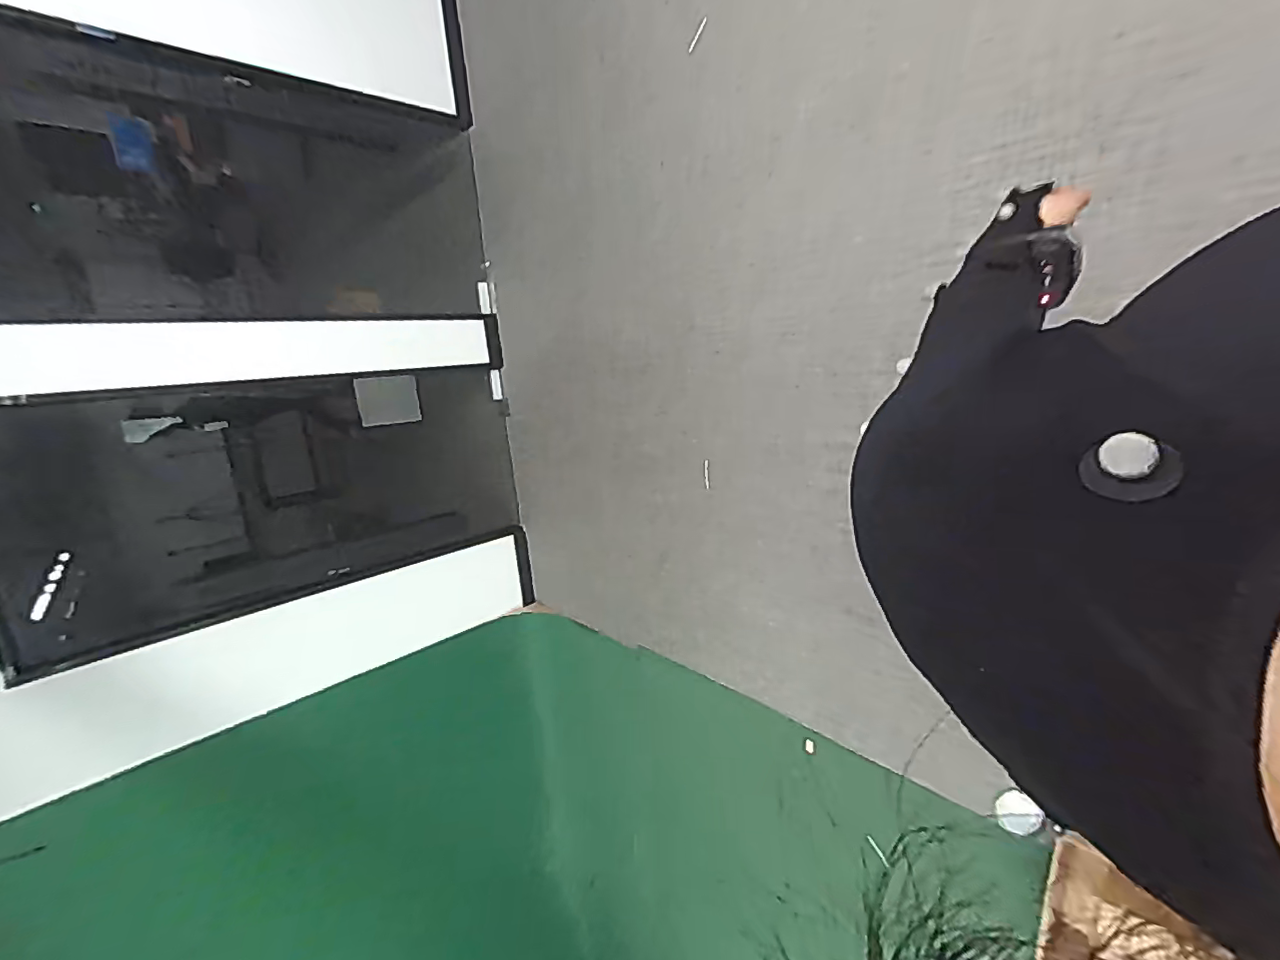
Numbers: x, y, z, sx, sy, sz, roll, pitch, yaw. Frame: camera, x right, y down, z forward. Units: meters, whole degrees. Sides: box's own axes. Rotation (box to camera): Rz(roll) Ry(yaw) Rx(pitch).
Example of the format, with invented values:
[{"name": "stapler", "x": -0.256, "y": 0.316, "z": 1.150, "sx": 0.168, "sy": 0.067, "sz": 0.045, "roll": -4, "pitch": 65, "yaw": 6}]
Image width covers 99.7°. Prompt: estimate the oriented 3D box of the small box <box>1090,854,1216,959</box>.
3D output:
[{"name": "small box", "x": 1.100, "y": 0.965, "z": 1.163, "sx": 0.168, "sy": 0.176, "sz": 0.179, "roll": 14, "pitch": 110, "yaw": 45}]
